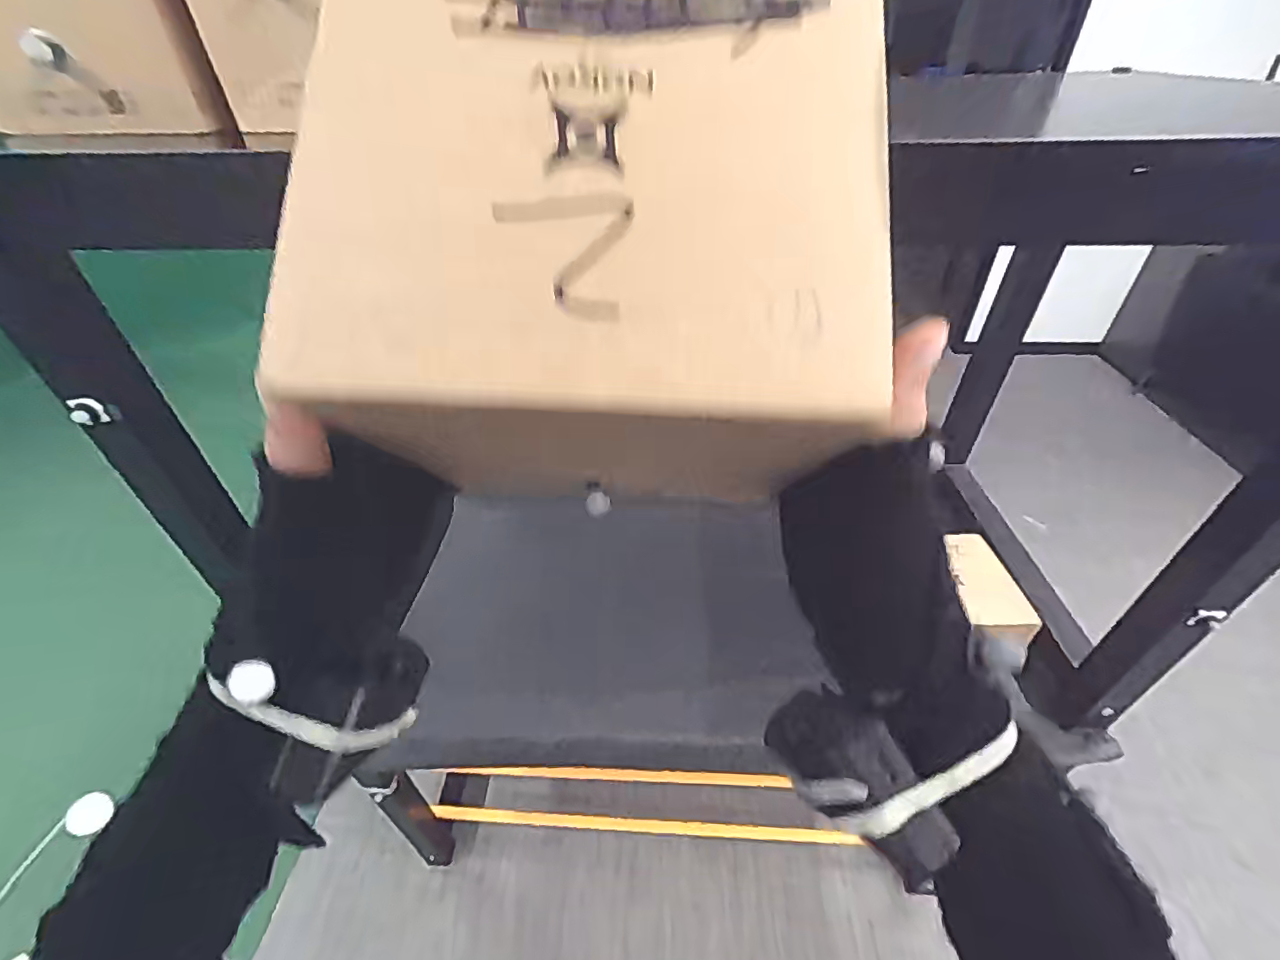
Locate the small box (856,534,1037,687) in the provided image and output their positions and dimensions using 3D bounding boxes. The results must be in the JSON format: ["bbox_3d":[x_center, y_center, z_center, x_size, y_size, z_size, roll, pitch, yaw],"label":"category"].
[{"bbox_3d":[0.460,0.206,0.845,0.168,0.176,0.179,-1,38,0],"label":"small box"}]

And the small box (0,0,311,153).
[{"bbox_3d":[-0.399,-0.371,0.428,0.168,0.176,0.179,1,40,2],"label":"small box"}]
